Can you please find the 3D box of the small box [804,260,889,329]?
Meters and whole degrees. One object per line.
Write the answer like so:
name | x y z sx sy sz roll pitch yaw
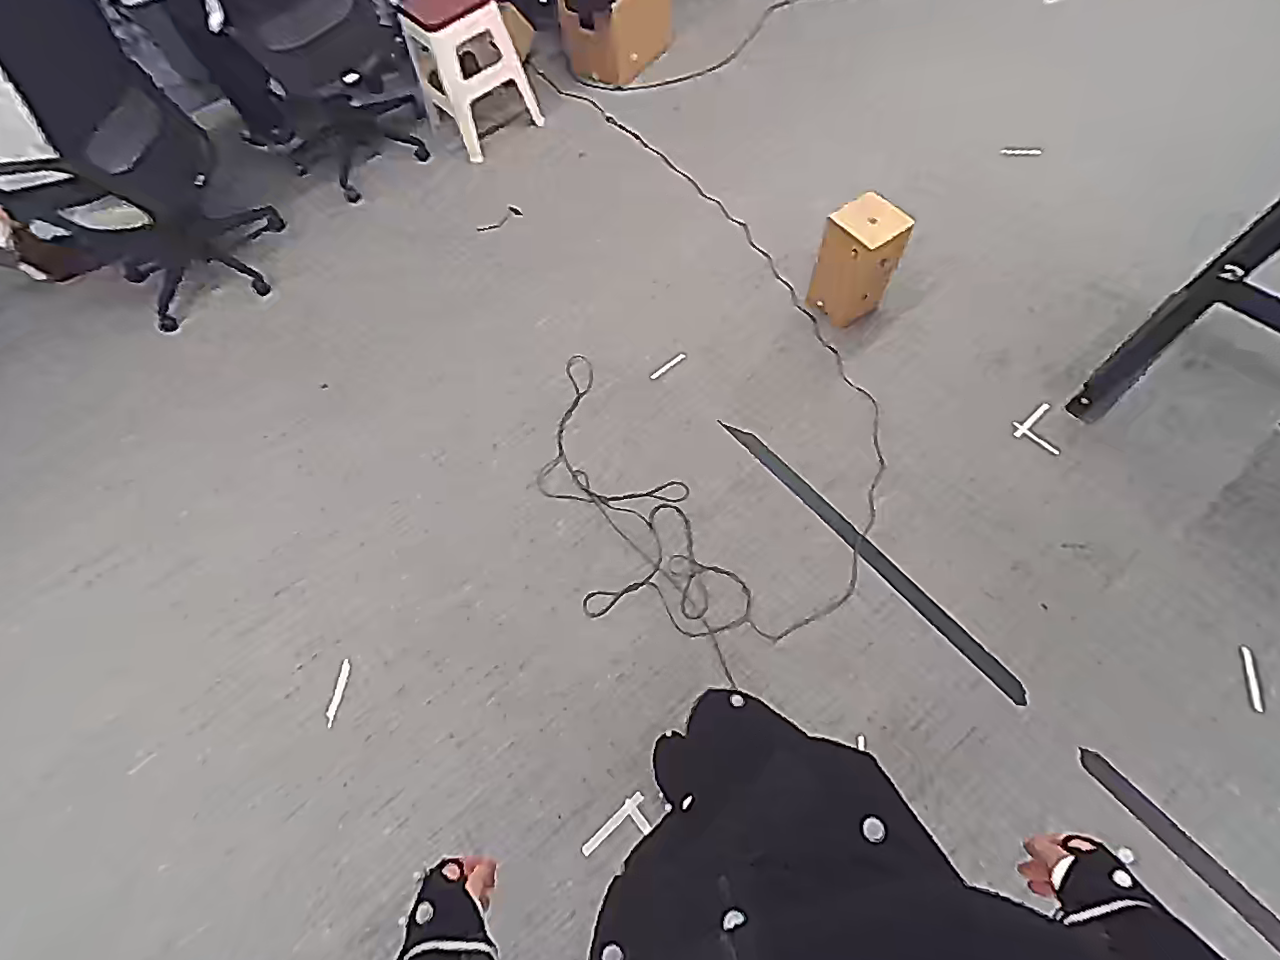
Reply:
small box | 0.656 -0.625 1.738 0.179 0.176 0.168 -31 65 -8

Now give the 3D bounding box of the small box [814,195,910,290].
small box | 0.642 -0.685 1.585 0.168 0.176 0.179 -33 65 -11
